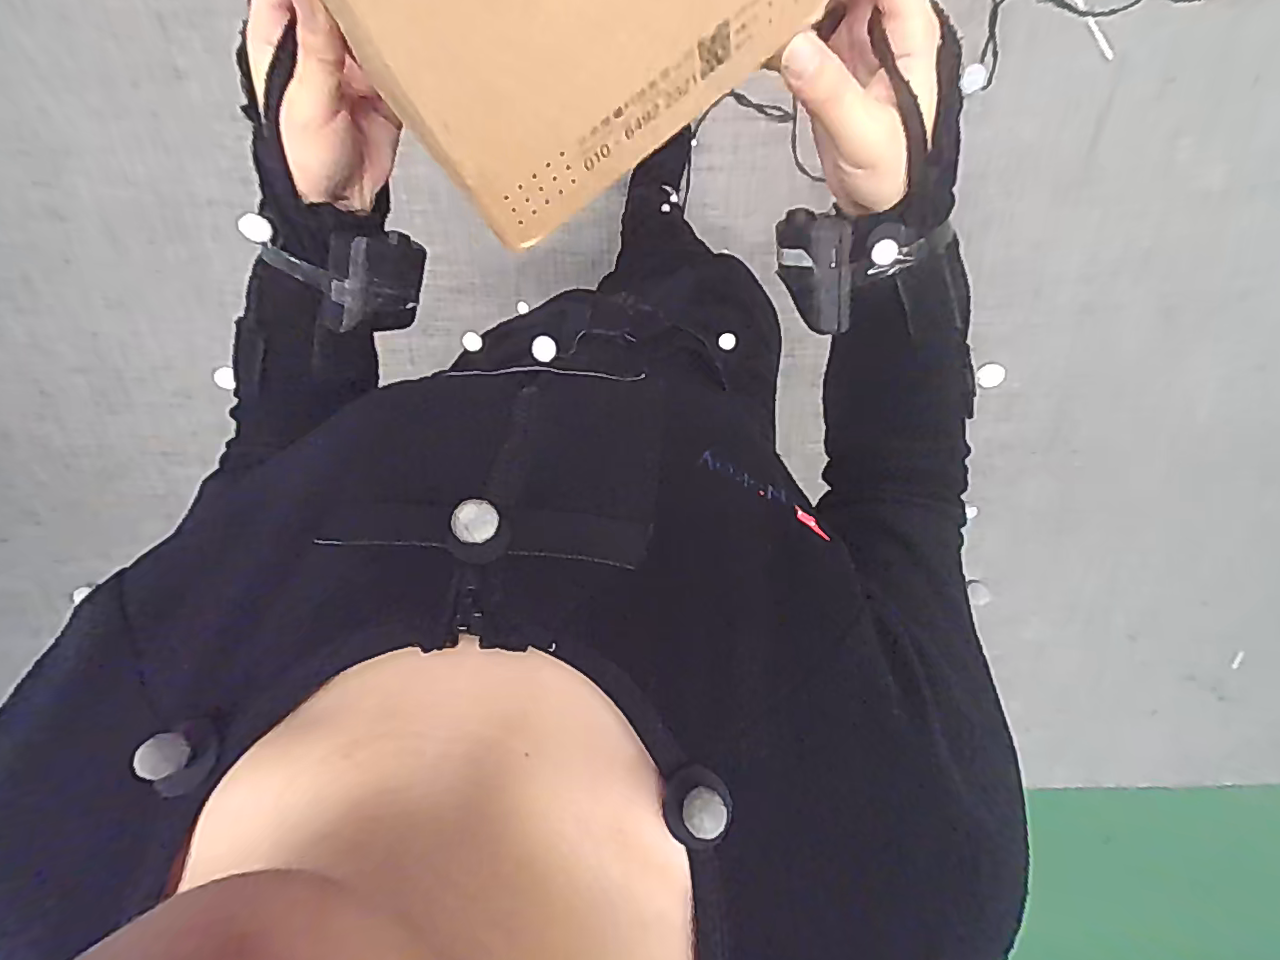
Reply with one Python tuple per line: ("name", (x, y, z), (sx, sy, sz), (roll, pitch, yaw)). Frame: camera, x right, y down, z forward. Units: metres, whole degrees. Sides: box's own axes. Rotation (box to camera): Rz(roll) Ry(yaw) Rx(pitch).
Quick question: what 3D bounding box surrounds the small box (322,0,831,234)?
("small box", (-0.046, -0.224, 0.173), (0.168, 0.176, 0.179), (-40, 73, 2))
